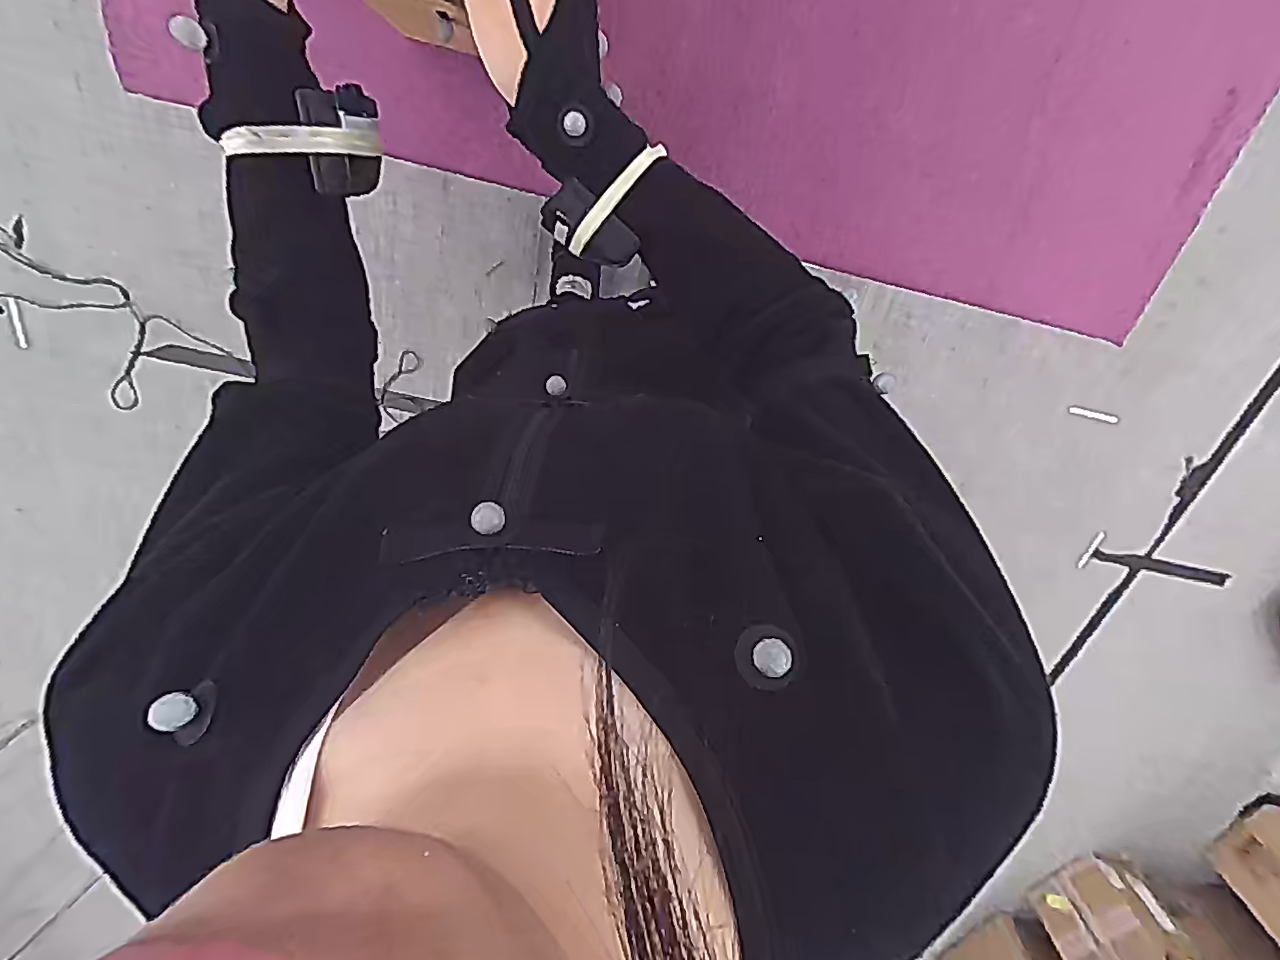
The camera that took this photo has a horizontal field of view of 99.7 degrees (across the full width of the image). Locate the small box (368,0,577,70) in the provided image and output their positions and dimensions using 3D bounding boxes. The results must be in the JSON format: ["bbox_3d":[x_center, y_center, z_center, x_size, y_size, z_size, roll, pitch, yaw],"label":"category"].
[{"bbox_3d":[-0.138,-0.476,0.455,0.179,0.176,0.168,11,115,-7],"label":"small box"}]
